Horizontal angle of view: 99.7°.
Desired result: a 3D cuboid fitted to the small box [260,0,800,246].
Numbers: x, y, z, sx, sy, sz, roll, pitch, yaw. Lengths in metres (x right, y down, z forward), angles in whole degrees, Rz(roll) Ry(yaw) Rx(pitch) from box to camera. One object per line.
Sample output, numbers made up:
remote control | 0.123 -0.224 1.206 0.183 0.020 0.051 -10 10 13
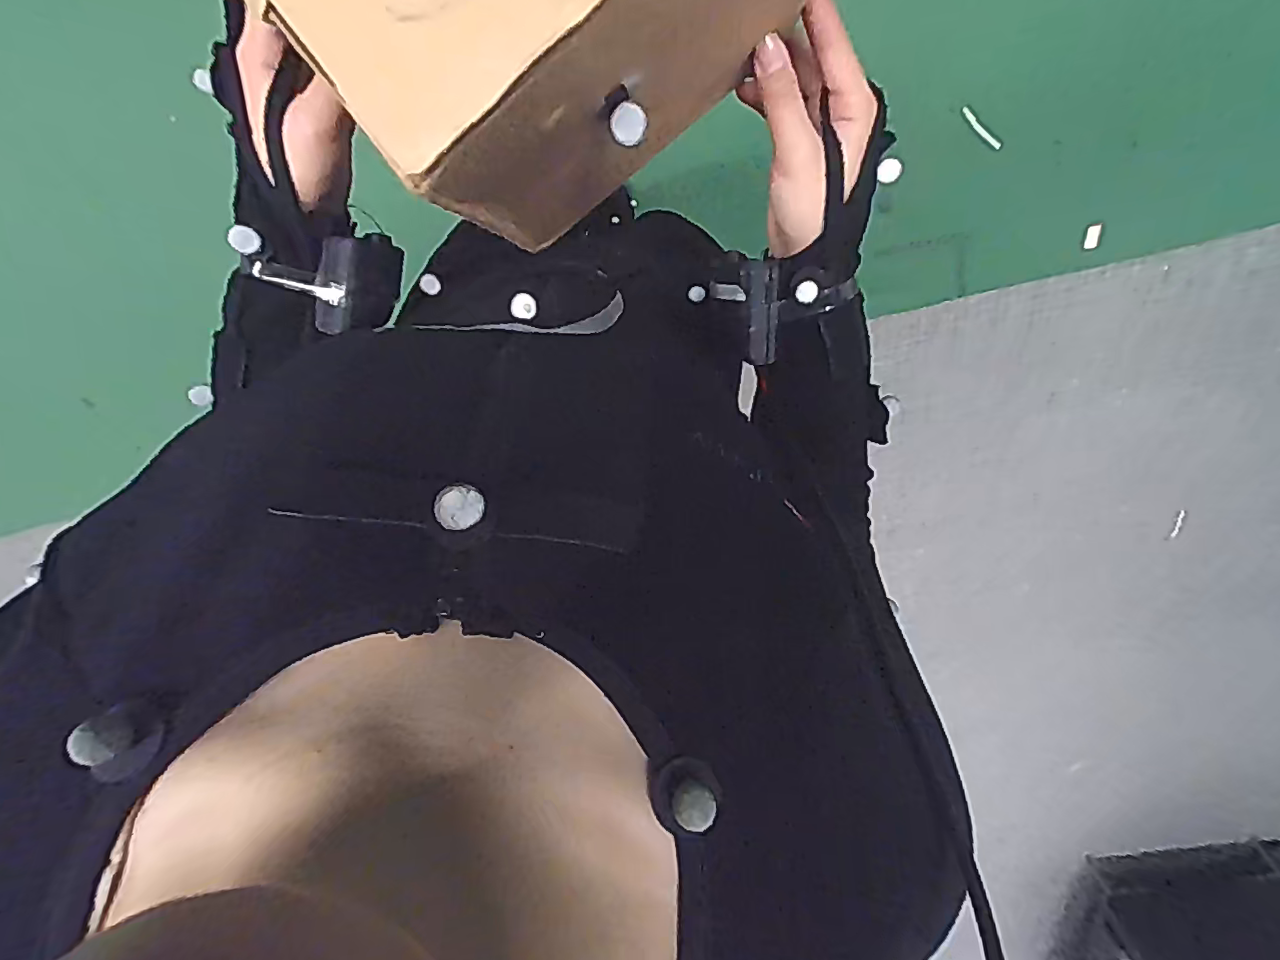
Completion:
small box | -0.041 -0.218 0.208 0.179 0.176 0.168 -34 101 12
